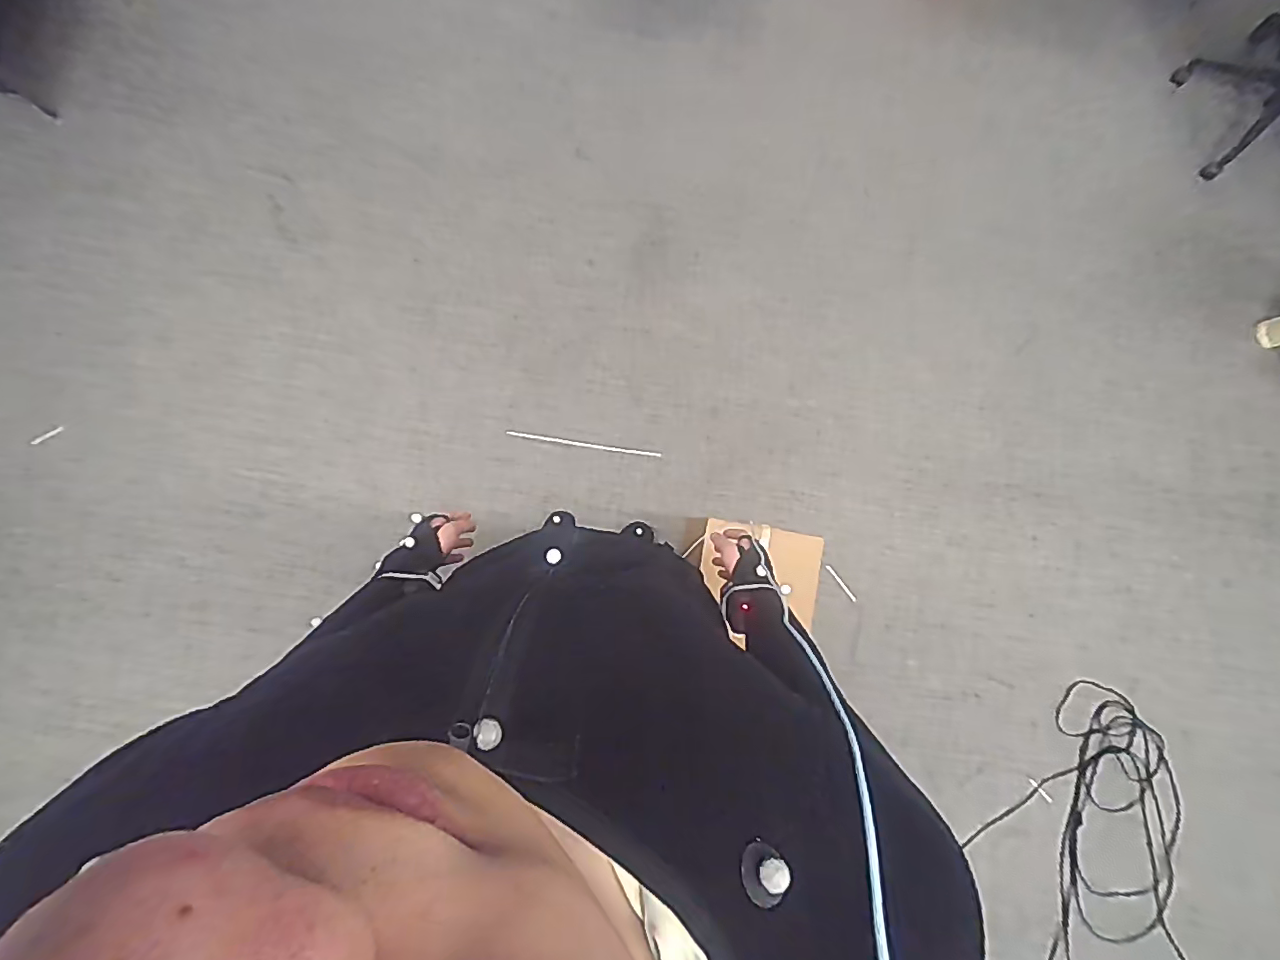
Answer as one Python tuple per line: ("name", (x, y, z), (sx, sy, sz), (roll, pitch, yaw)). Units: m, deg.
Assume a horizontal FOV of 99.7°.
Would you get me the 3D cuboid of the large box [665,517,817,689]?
("large box", (0.269, 0.322, 1.526), (0.320, 0.320, 0.408), (10, 85, -4))
